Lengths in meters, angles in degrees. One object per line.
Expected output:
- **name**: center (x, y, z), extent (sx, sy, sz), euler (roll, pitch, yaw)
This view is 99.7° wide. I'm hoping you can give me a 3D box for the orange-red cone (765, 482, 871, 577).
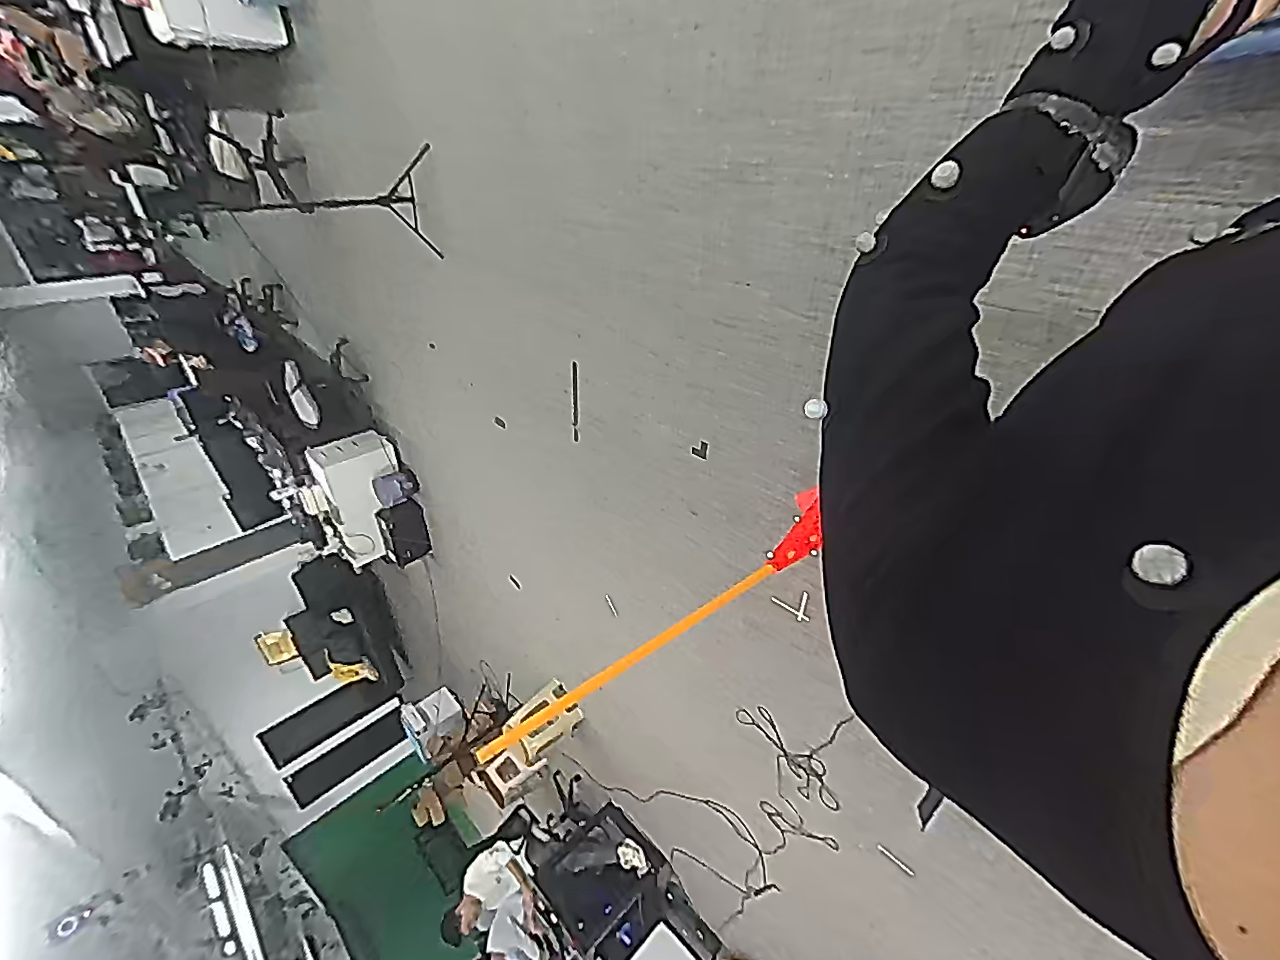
- **orange-red cone**: center (0.472, 0.177, 1.555), extent (0.199, 0.360, 0.198), euler (-31, 88, 52)
